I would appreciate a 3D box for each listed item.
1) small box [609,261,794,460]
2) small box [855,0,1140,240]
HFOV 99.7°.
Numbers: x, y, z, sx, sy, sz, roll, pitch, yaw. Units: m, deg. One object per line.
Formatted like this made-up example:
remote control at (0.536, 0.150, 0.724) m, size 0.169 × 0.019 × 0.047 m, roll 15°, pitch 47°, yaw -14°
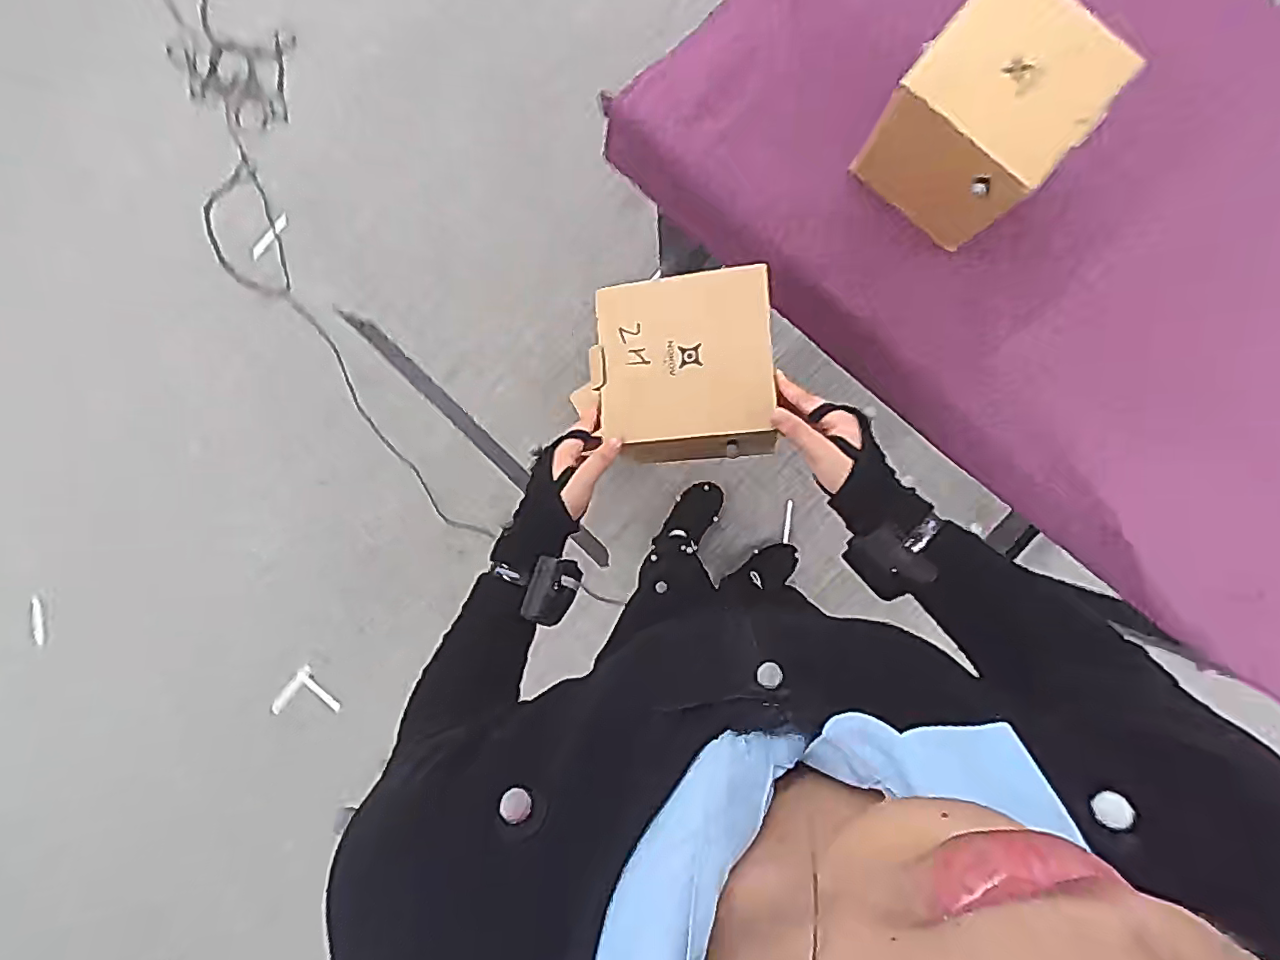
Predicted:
small box at (0.073, -0.116, 0.597) m, size 0.179 × 0.176 × 0.168 m, roll -3°, pitch 84°, yaw 14°
small box at (0.386, -0.416, 0.623) m, size 0.179 × 0.176 × 0.168 m, roll 39°, pitch 94°, yaw 0°
